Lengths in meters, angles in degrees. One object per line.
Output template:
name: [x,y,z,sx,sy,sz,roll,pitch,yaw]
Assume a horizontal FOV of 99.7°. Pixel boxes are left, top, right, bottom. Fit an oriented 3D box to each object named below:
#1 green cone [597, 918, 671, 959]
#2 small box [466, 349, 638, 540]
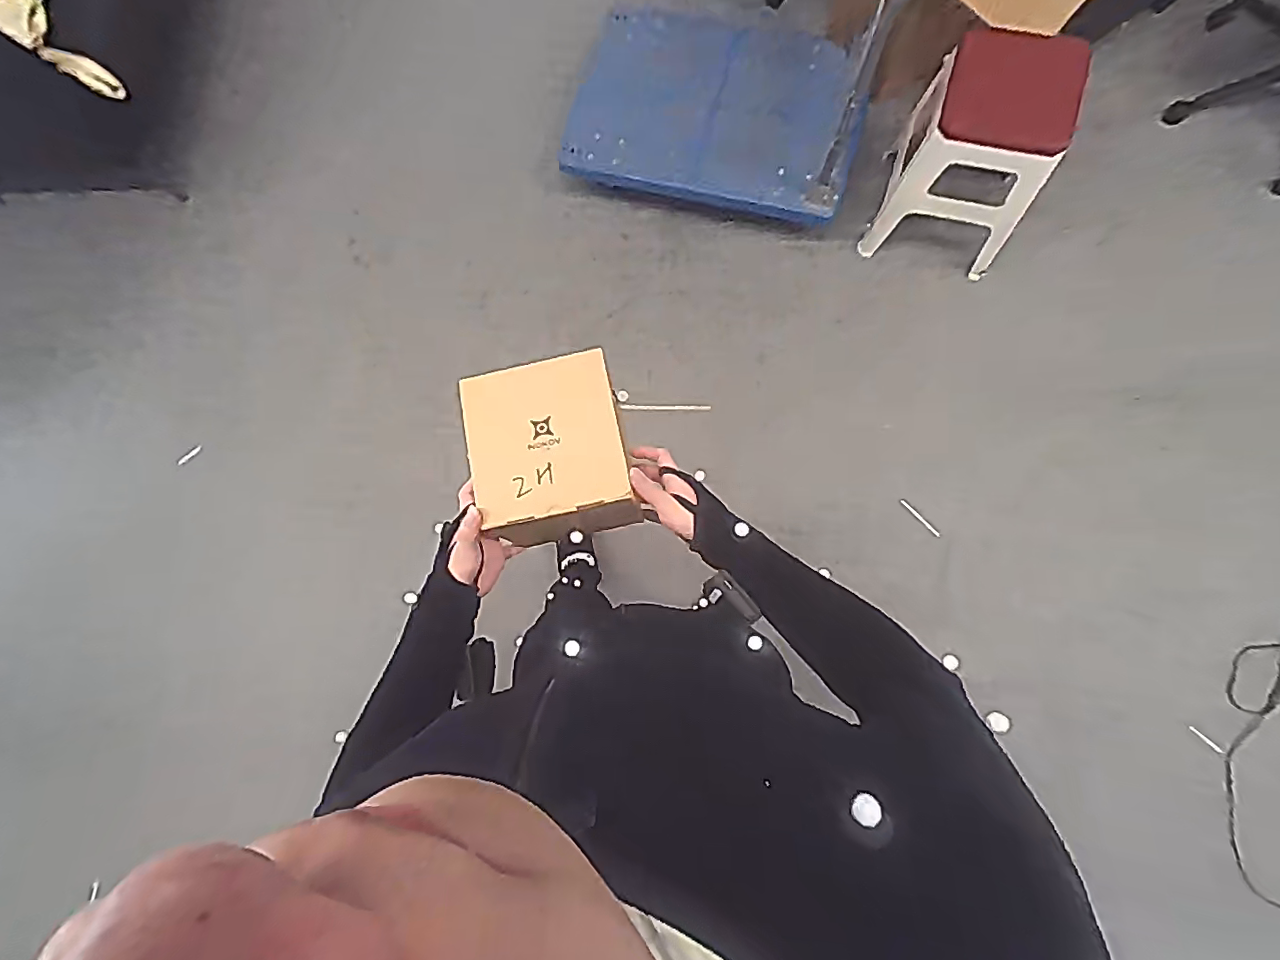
green cone: [-0.032,1.294,1.311,0.202,0.368,0.200,2,82,5]
small box: [-0.100,-0.034,0.669,0.168,0.176,0.179,-11,76,2]
